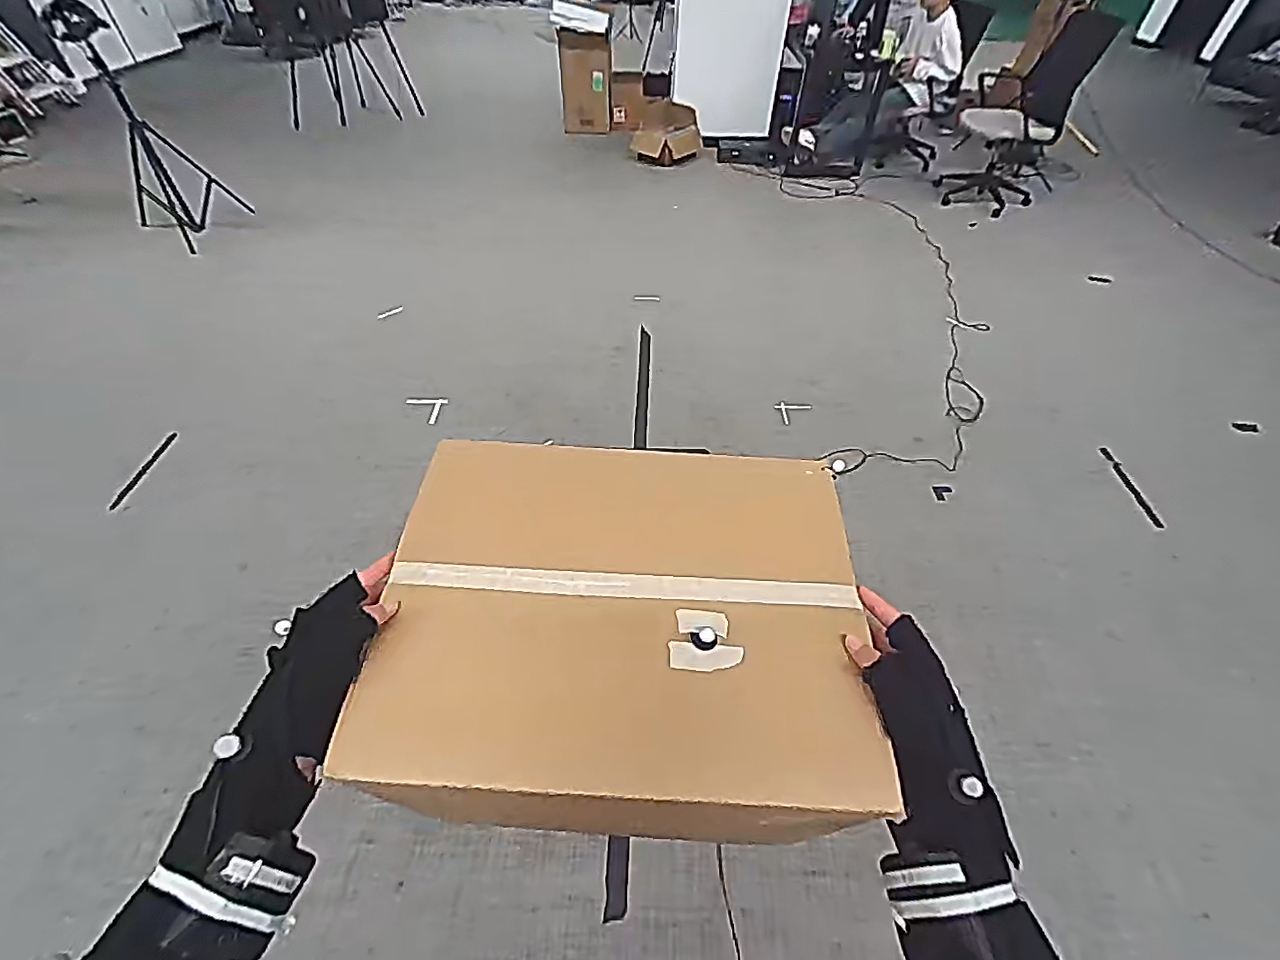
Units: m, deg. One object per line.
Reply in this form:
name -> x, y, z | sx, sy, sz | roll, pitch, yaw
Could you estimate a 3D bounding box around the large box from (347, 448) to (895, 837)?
large box -> -0.015, 0.188, 0.592 | 0.408, 0.320, 0.320 | 4, 53, 0
